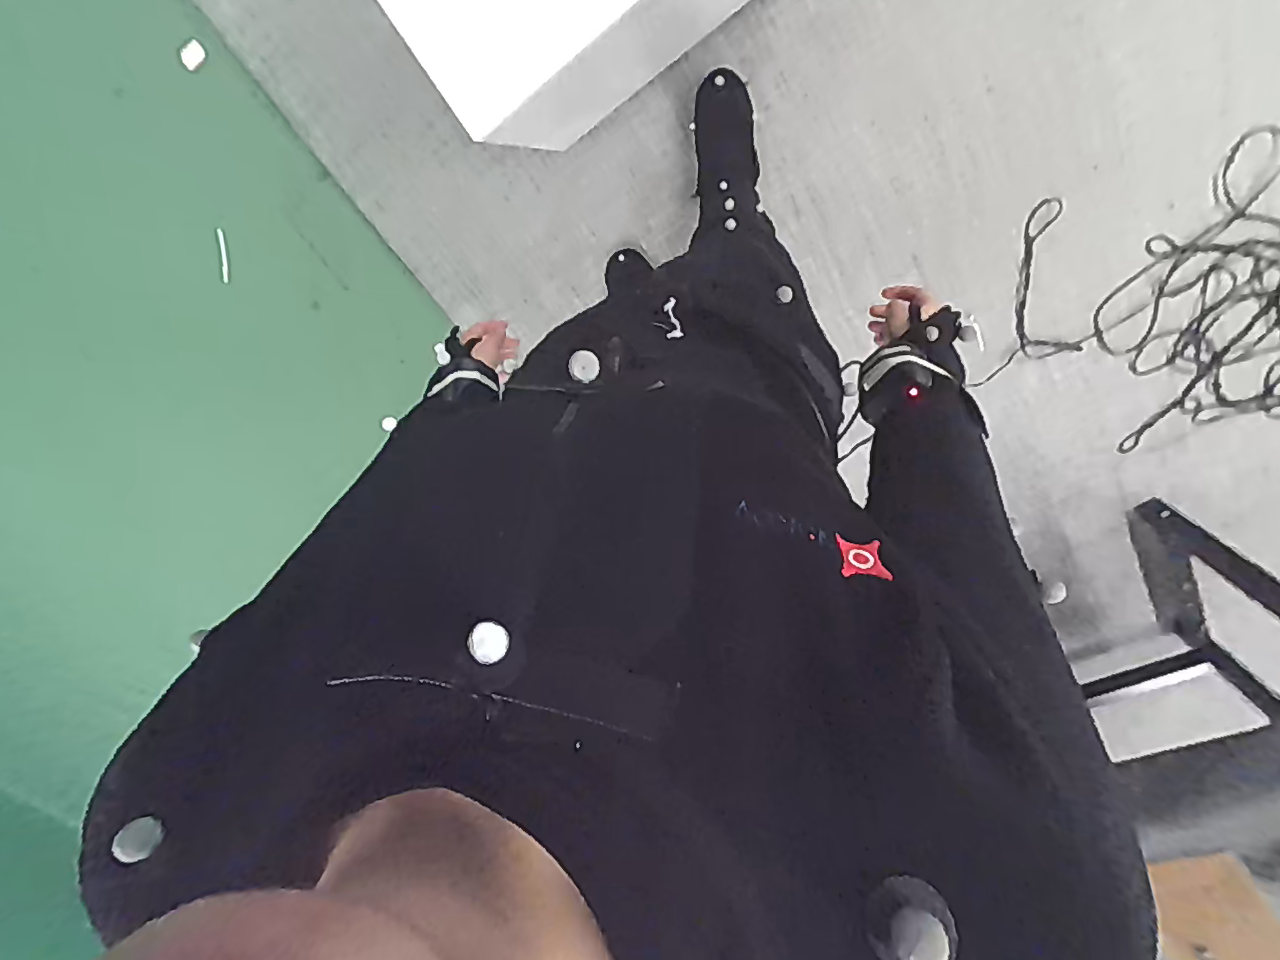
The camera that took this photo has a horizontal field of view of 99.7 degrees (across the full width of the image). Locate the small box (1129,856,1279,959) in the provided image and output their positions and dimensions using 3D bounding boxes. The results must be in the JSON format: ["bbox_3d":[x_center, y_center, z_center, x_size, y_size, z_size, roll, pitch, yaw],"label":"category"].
[{"bbox_3d":[1.008,0.785,0.933,0.179,0.176,0.168,-26,116,17],"label":"small box"}]
